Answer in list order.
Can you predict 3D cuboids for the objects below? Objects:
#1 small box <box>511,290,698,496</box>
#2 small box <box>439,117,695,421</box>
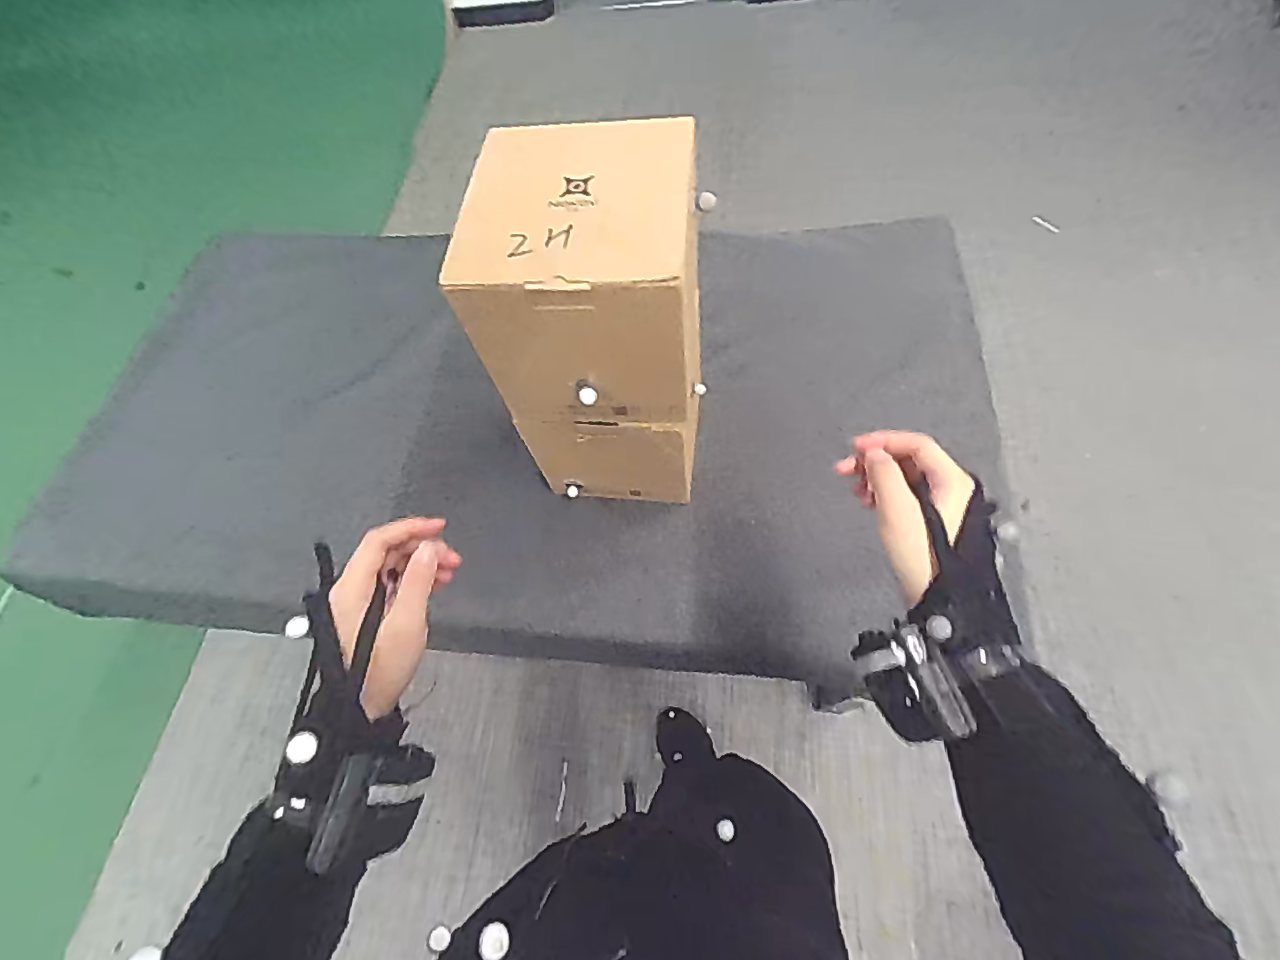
[{"bbox_3d":[-0.024,-0.094,0.607,0.168,0.176,0.179,4,63,8],"label":"small box"},{"bbox_3d":[-0.040,-0.170,0.461,0.168,0.176,0.179,1,64,8],"label":"small box"}]
